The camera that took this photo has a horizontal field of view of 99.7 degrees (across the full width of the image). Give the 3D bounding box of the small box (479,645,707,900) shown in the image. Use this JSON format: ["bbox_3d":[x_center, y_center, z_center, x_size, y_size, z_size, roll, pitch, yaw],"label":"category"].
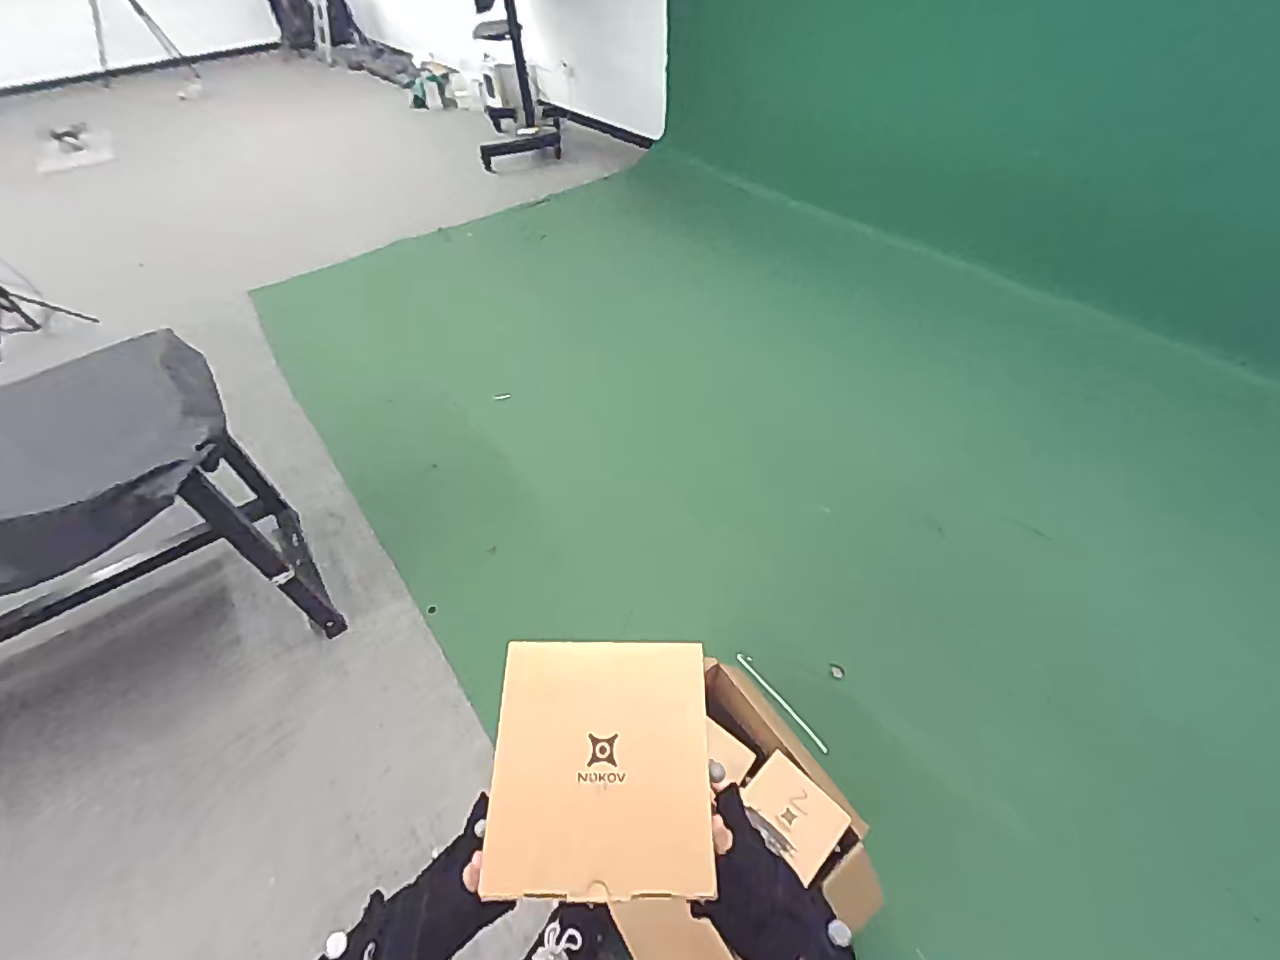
[{"bbox_3d":[-0.035,0.260,0.492,0.168,0.176,0.179,2,60,-2],"label":"small box"}]
